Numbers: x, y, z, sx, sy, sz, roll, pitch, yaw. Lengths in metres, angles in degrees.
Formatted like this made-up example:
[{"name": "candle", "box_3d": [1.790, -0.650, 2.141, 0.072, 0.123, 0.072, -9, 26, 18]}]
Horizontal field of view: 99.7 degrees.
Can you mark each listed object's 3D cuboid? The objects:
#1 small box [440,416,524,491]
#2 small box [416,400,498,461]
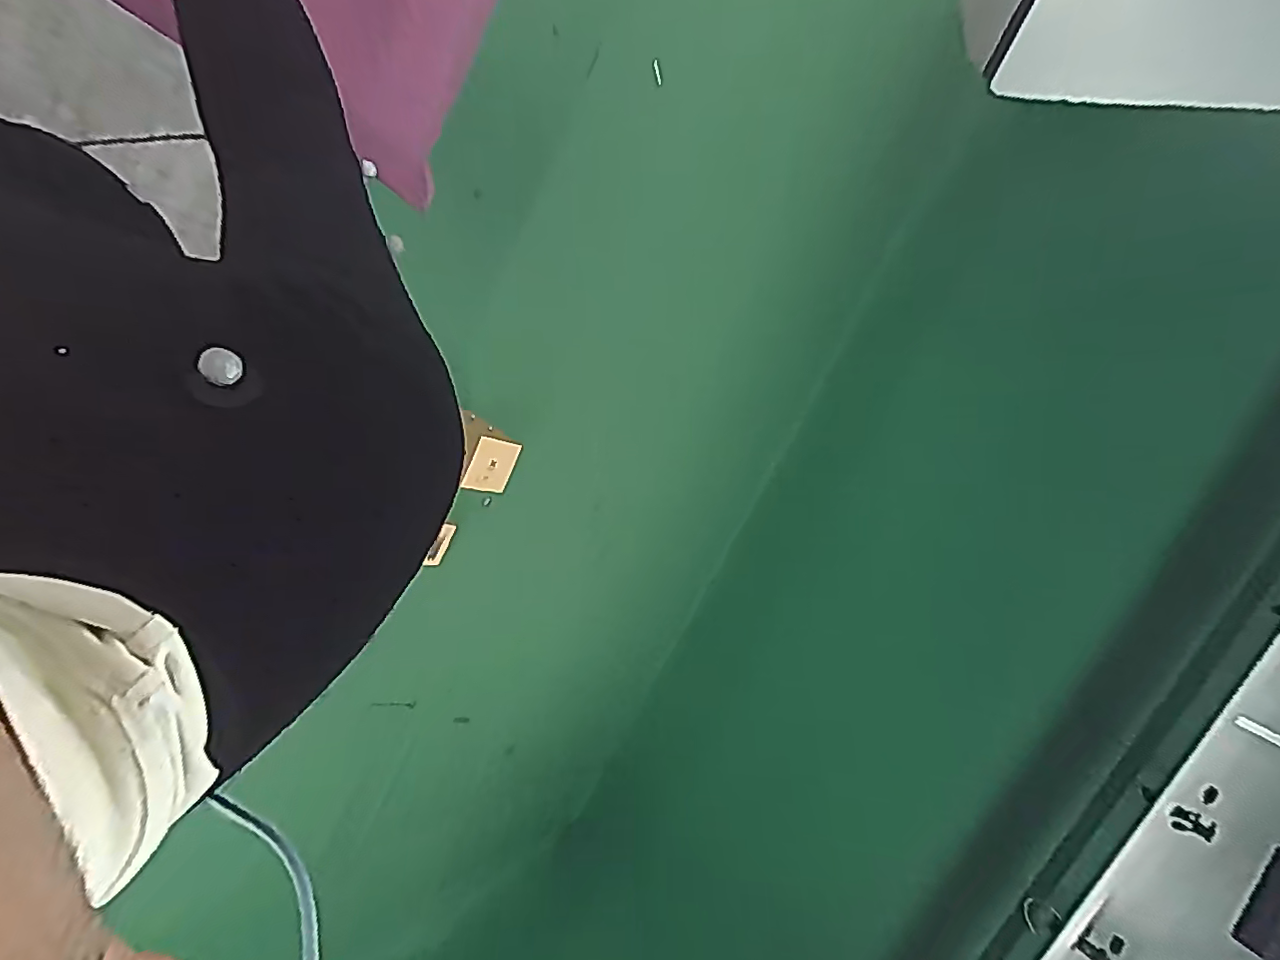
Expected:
[{"name": "small box", "box_3d": [-0.509, -0.088, 1.729, 0.168, 0.176, 0.179, 13, 106, -54]}, {"name": "small box", "box_3d": [-0.622, -0.157, 1.827, 0.179, 0.176, 0.168, 13, 106, -55]}]
